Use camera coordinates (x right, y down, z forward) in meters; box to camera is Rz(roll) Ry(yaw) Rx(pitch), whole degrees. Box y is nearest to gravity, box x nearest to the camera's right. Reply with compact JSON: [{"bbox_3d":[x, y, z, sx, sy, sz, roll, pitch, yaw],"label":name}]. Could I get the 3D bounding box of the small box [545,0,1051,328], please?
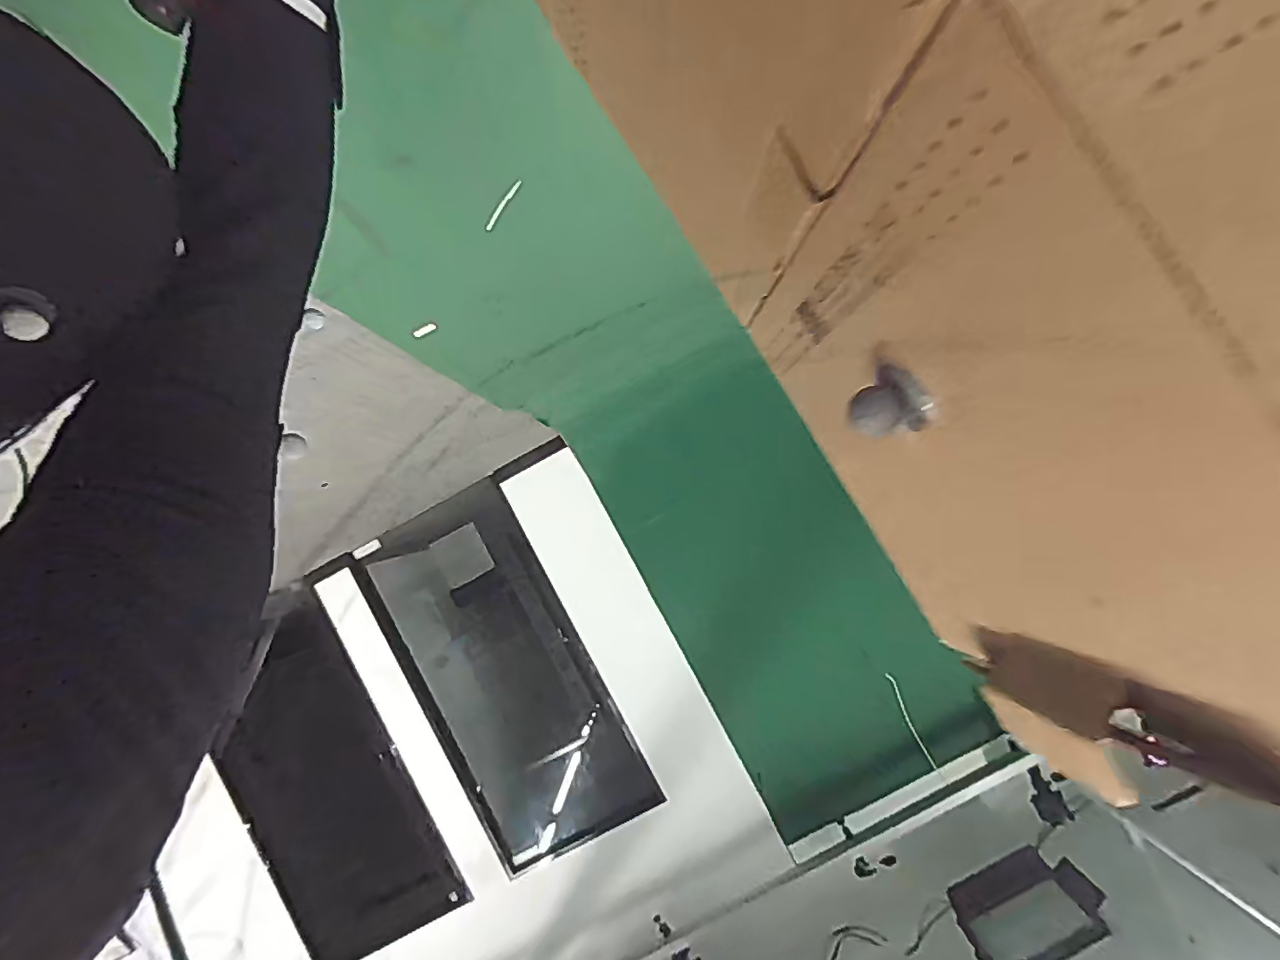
[{"bbox_3d":[0.077,-0.187,0.178,0.179,0.176,0.168,-31,179,-2],"label":"small box"}]
